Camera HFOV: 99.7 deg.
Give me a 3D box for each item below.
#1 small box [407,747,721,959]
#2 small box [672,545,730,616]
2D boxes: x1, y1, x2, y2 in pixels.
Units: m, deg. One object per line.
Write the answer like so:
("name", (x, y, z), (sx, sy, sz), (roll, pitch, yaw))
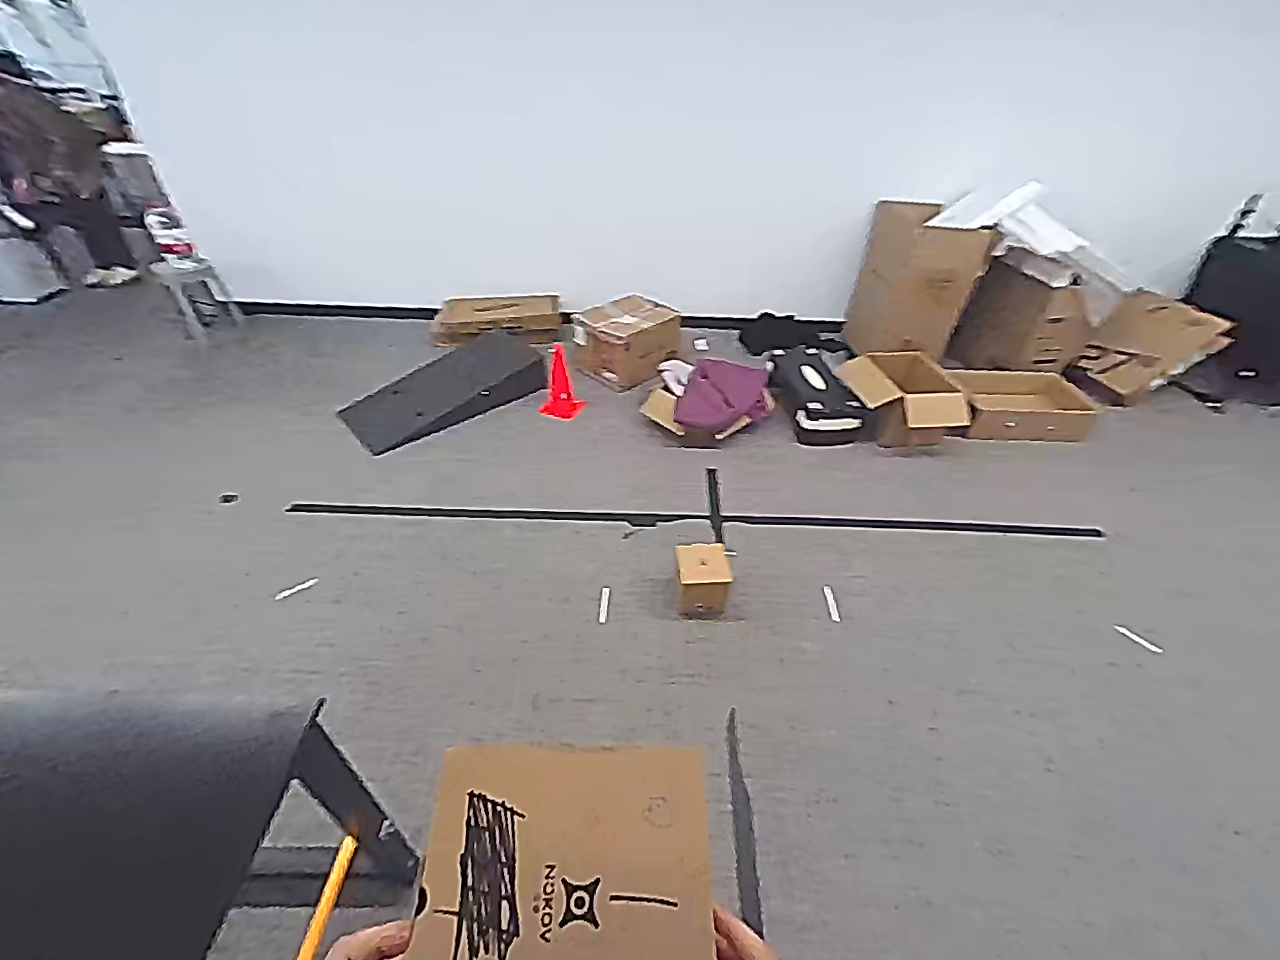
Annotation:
("small box", (-0.044, 0.294, 0.377), (0.179, 0.176, 0.168), (2, 53, -2))
("small box", (0.204, 0.346, 1.870), (0.168, 0.176, 0.179), (-3, 41, -5))
